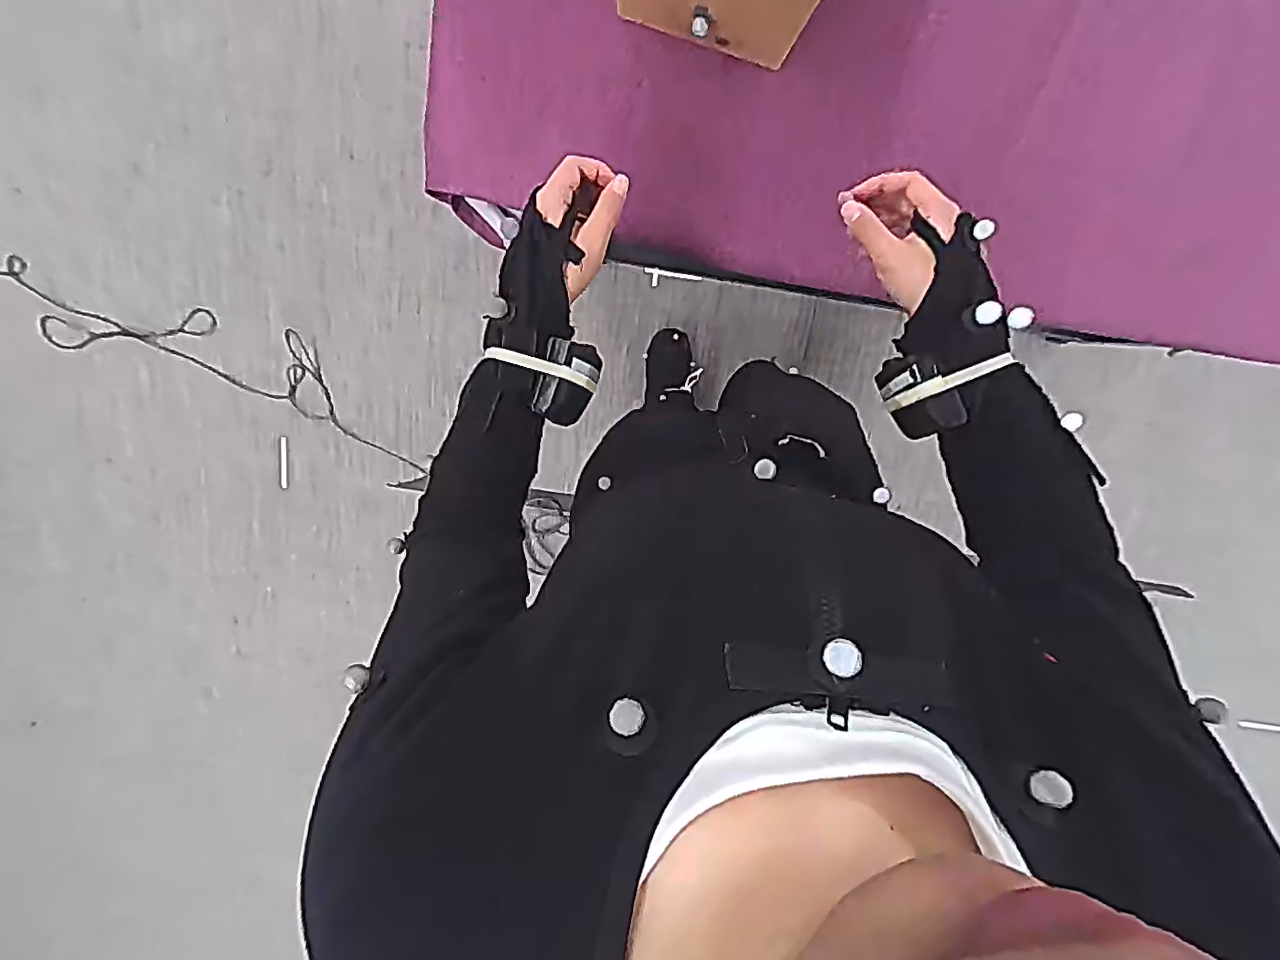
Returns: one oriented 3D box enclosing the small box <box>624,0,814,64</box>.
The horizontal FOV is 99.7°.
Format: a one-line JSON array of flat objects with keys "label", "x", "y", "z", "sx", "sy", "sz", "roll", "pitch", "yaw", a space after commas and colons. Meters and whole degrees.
[{"label": "small box", "x": 0.079, "y": -0.481, "z": 0.422, "sx": 0.168, "sy": 0.176, "sz": 0.179, "roll": 15, "pitch": 106, "yaw": -5}]
